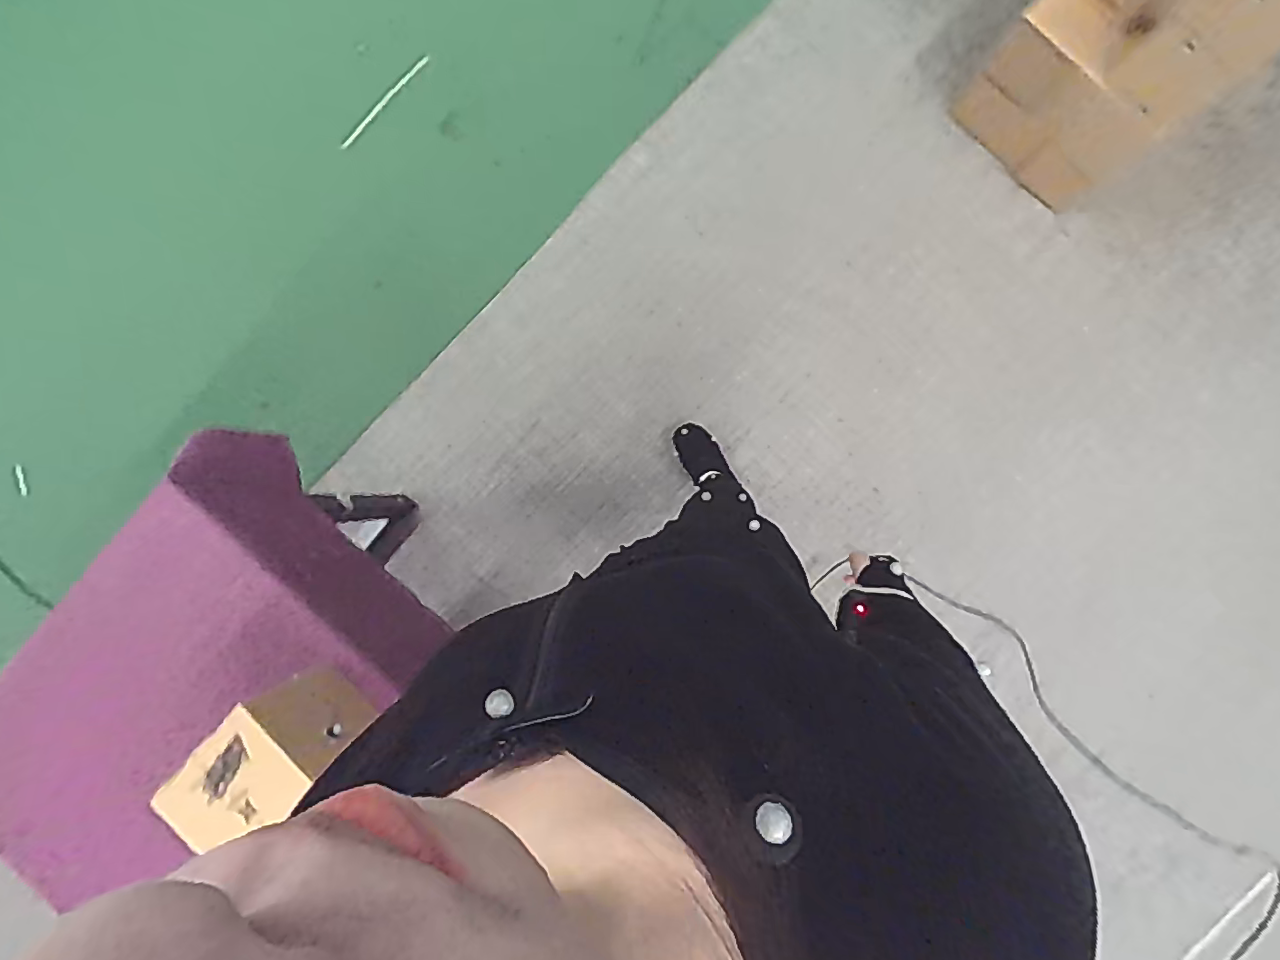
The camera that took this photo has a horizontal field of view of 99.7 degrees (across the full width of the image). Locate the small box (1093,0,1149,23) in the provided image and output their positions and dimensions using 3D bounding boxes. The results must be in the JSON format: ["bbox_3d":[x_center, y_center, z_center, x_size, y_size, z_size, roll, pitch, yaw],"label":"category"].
[{"bbox_3d":[1.032,-1.092,1.088,0.179,0.176,0.168,-43,86,-1],"label":"small box"}]

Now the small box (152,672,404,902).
[{"bbox_3d":[-0.459,0.380,0.714,0.179,0.176,0.168,43,92,4],"label":"small box"}]
